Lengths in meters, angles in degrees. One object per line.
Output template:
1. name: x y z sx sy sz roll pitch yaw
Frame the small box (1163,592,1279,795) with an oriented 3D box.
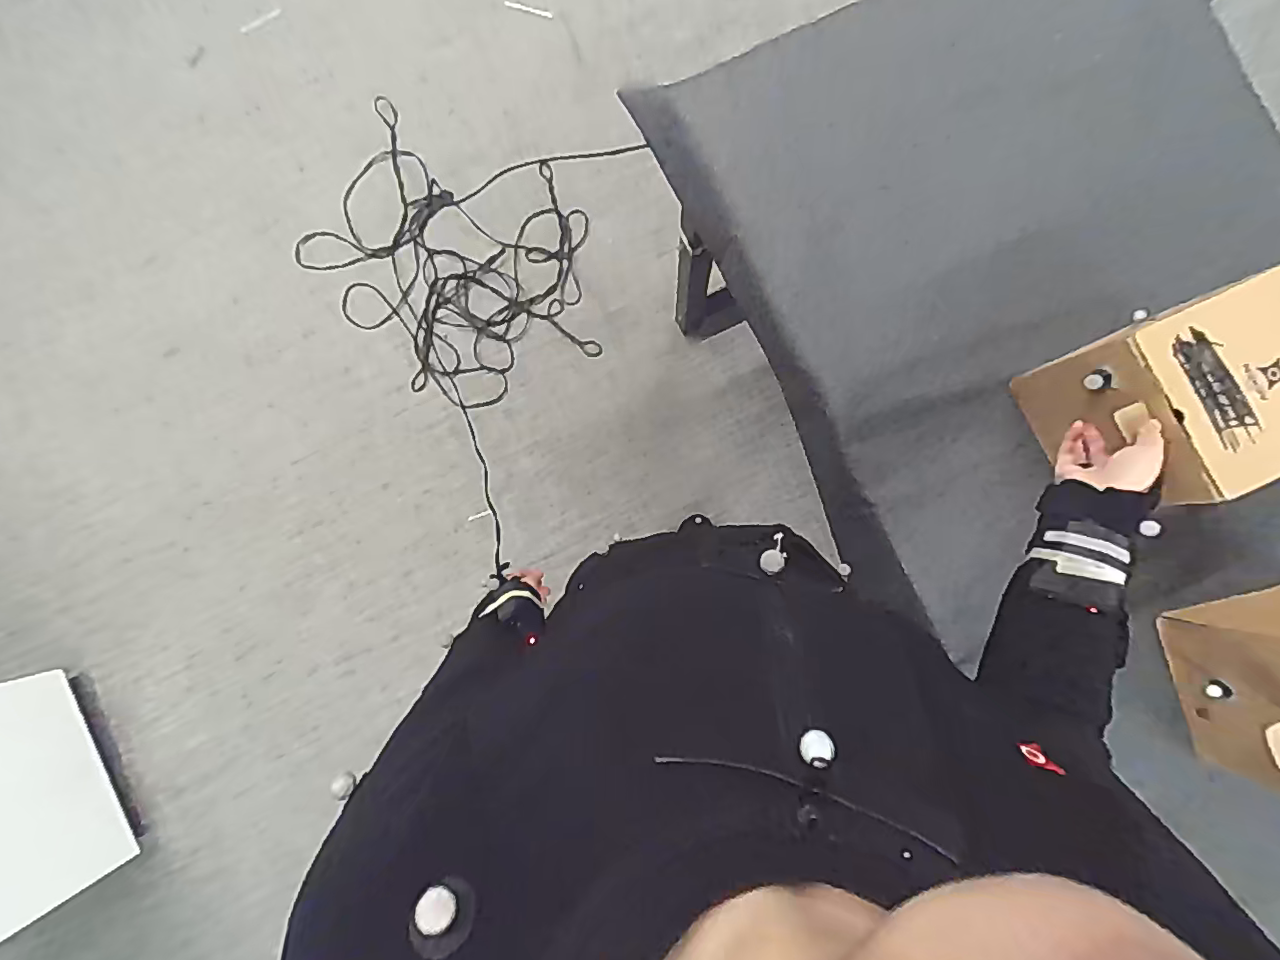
1. small box: 0.687 0.210 0.526 0.179 0.176 0.168 -14 86 2
